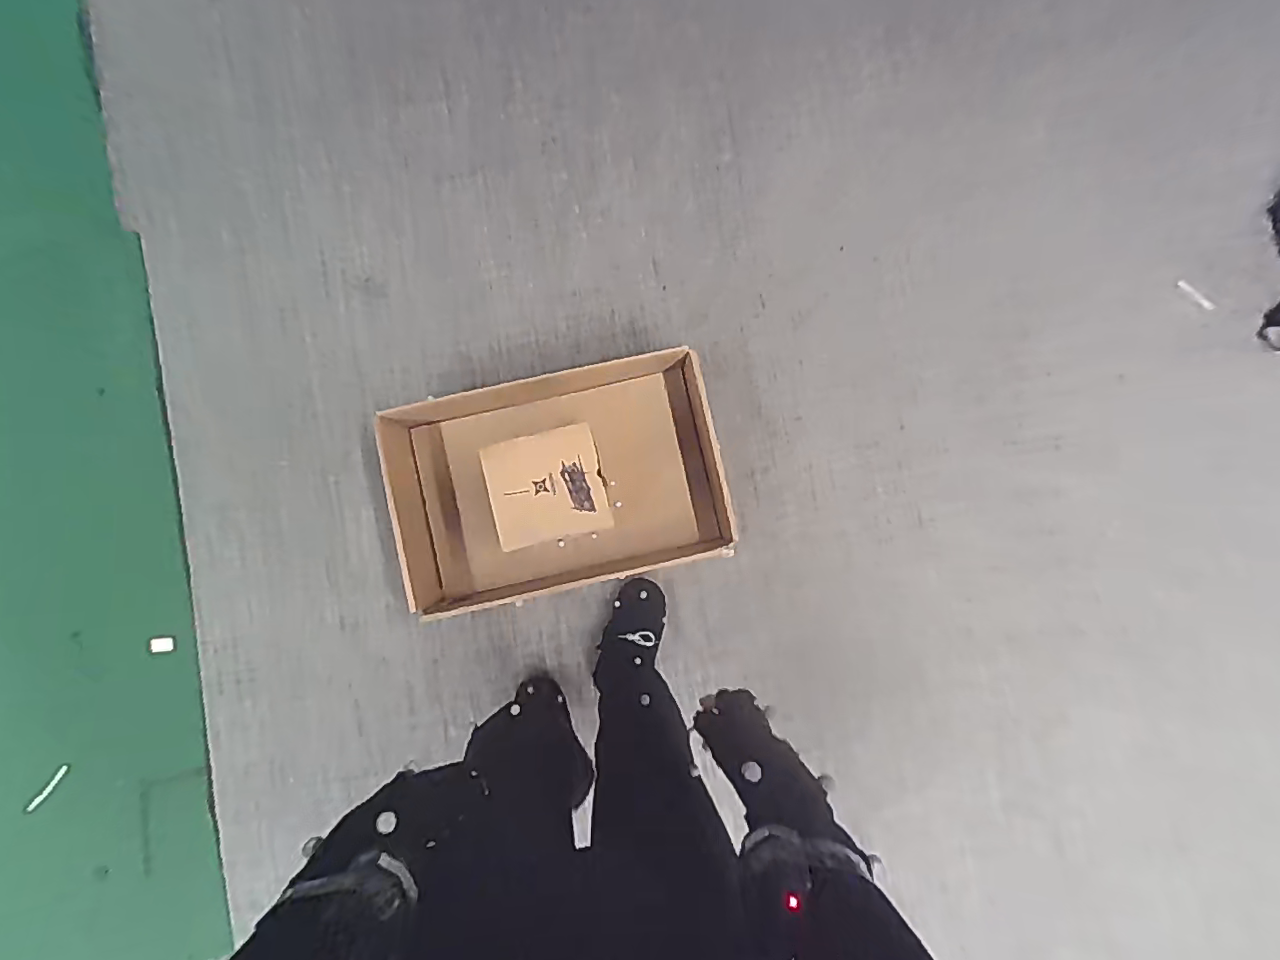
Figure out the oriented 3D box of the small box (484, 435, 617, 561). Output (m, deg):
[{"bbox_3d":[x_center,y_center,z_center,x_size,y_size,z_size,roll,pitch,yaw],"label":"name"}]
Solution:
[{"bbox_3d":[-0.136,0.030,0.894,0.179,0.176,0.168,-12,86,0],"label":"small box"}]
